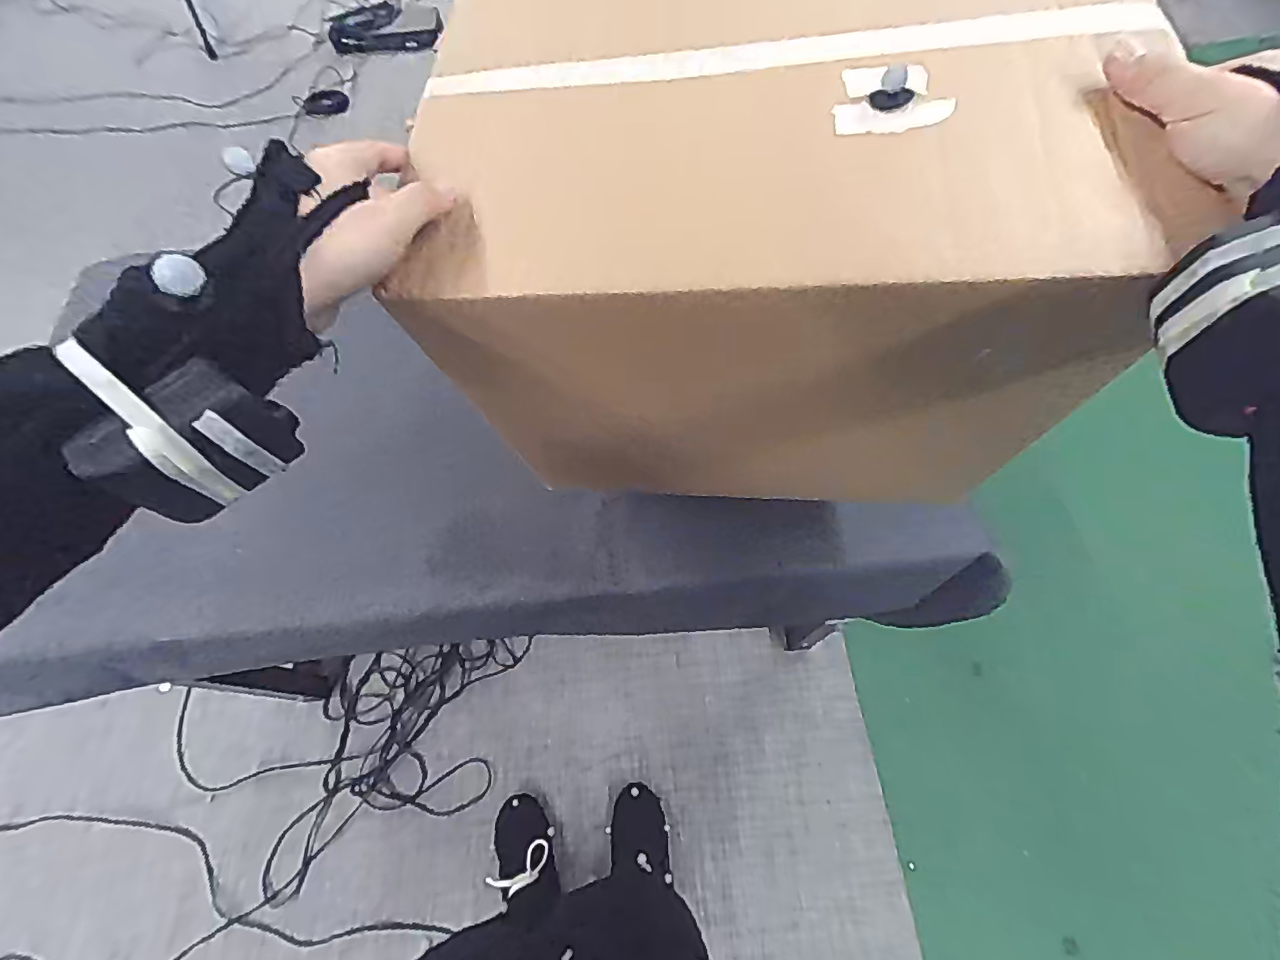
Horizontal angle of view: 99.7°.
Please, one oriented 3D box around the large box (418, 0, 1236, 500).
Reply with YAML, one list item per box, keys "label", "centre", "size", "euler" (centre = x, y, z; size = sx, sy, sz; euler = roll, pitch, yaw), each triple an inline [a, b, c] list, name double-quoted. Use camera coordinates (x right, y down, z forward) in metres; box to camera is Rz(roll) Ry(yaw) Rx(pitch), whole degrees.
- label: "large box"
  centre: [0.099, -0.177, 0.459]
  size: [0.408, 0.320, 0.320]
  euler: [2, 70, 8]
